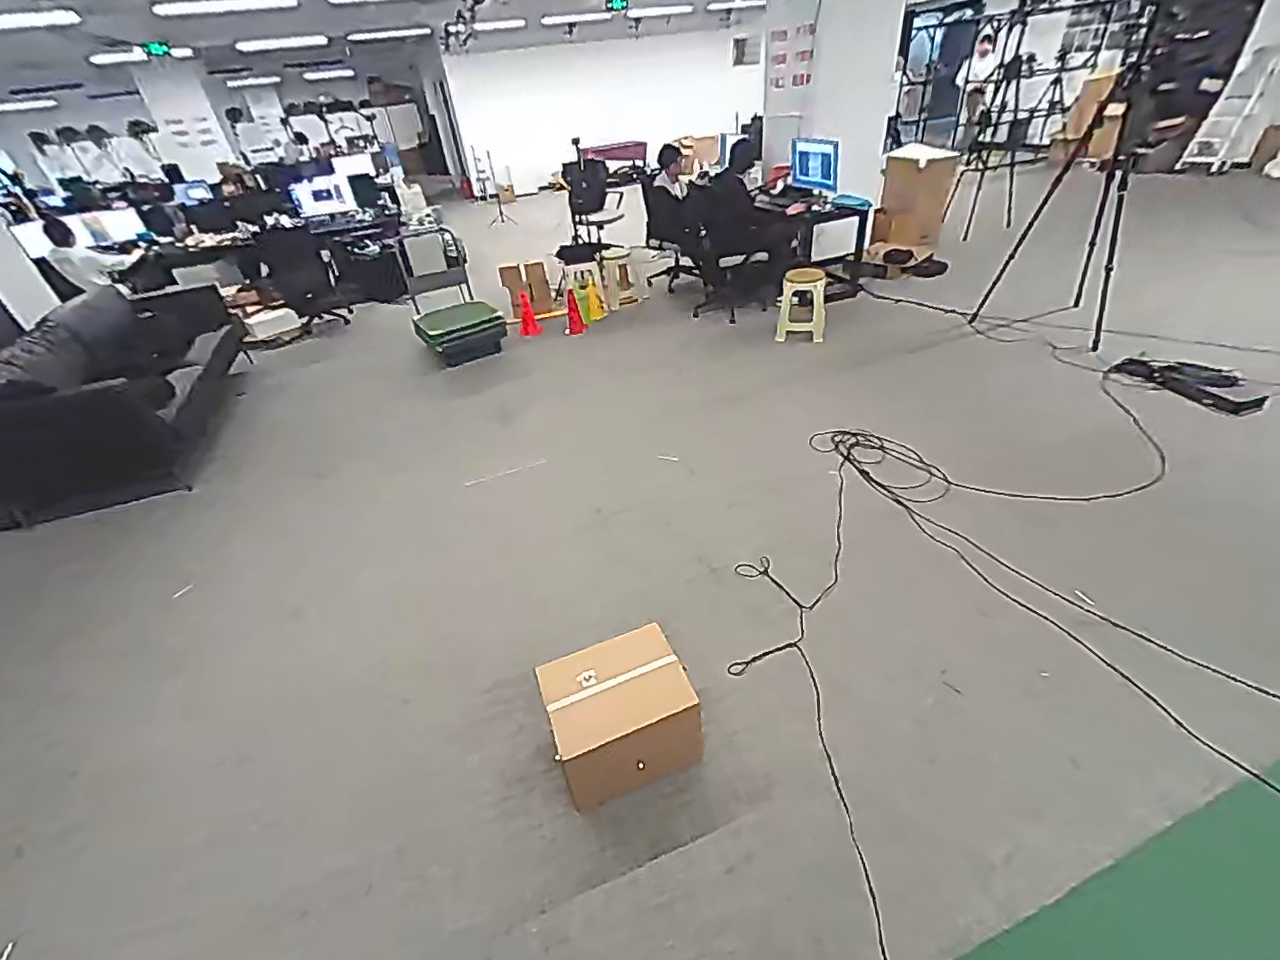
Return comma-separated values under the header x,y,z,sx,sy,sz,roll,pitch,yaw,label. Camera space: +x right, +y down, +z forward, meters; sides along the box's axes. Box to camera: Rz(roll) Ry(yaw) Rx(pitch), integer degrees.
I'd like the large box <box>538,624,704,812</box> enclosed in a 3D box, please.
x,y,z,sx,sy,sz,roll,pitch,yaw,label
-0.052,0.721,1.659,0.408,0.320,0.320,-19,37,-14,large box
